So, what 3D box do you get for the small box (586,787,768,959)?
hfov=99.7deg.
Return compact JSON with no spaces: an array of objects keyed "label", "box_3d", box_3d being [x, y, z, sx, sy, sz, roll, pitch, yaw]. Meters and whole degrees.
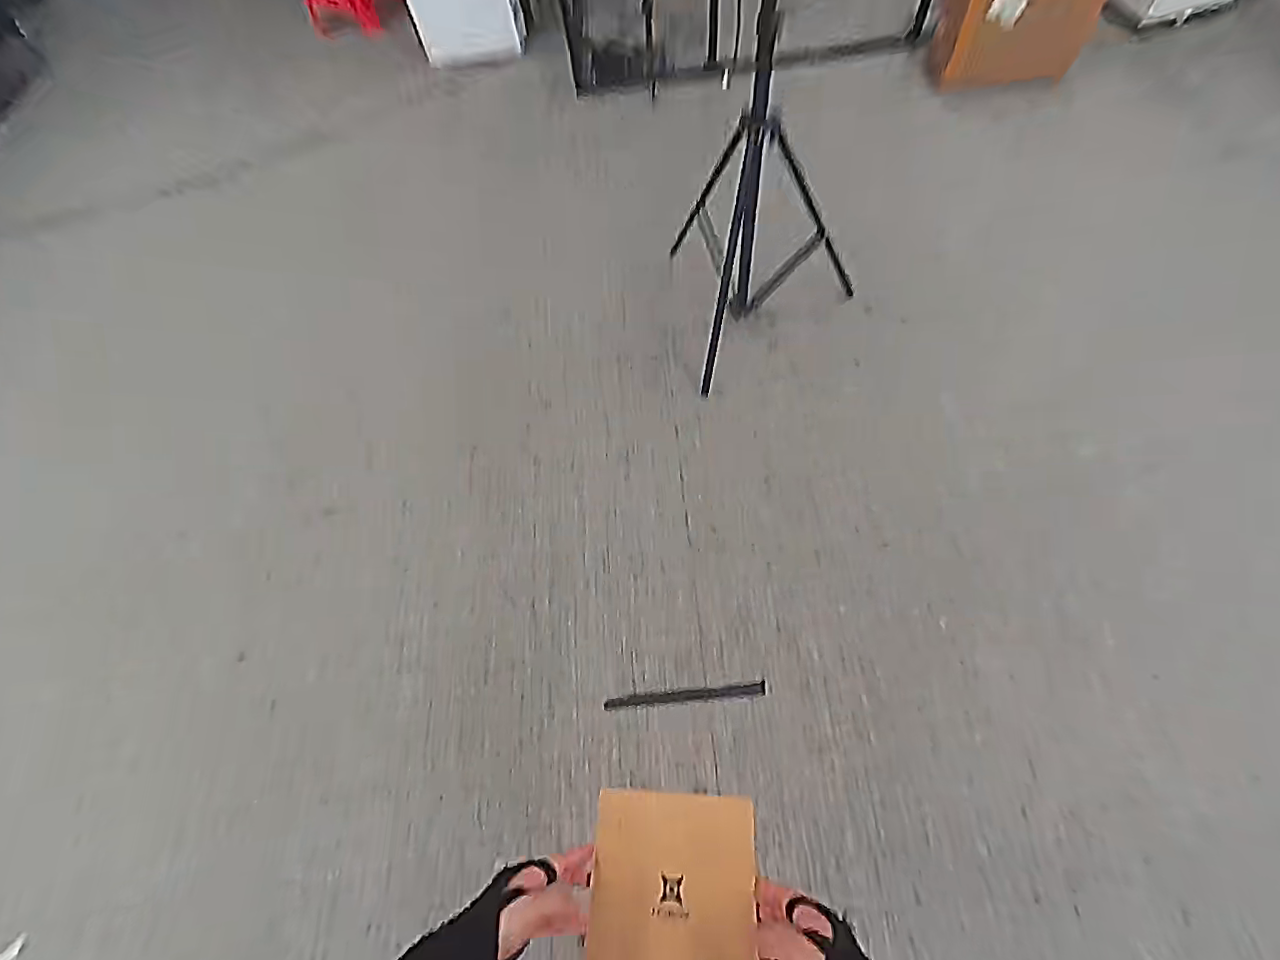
[{"label":"small box","box_3d":[0.047,0.437,0.573,0.168,0.176,0.179,-2,57,10]}]
